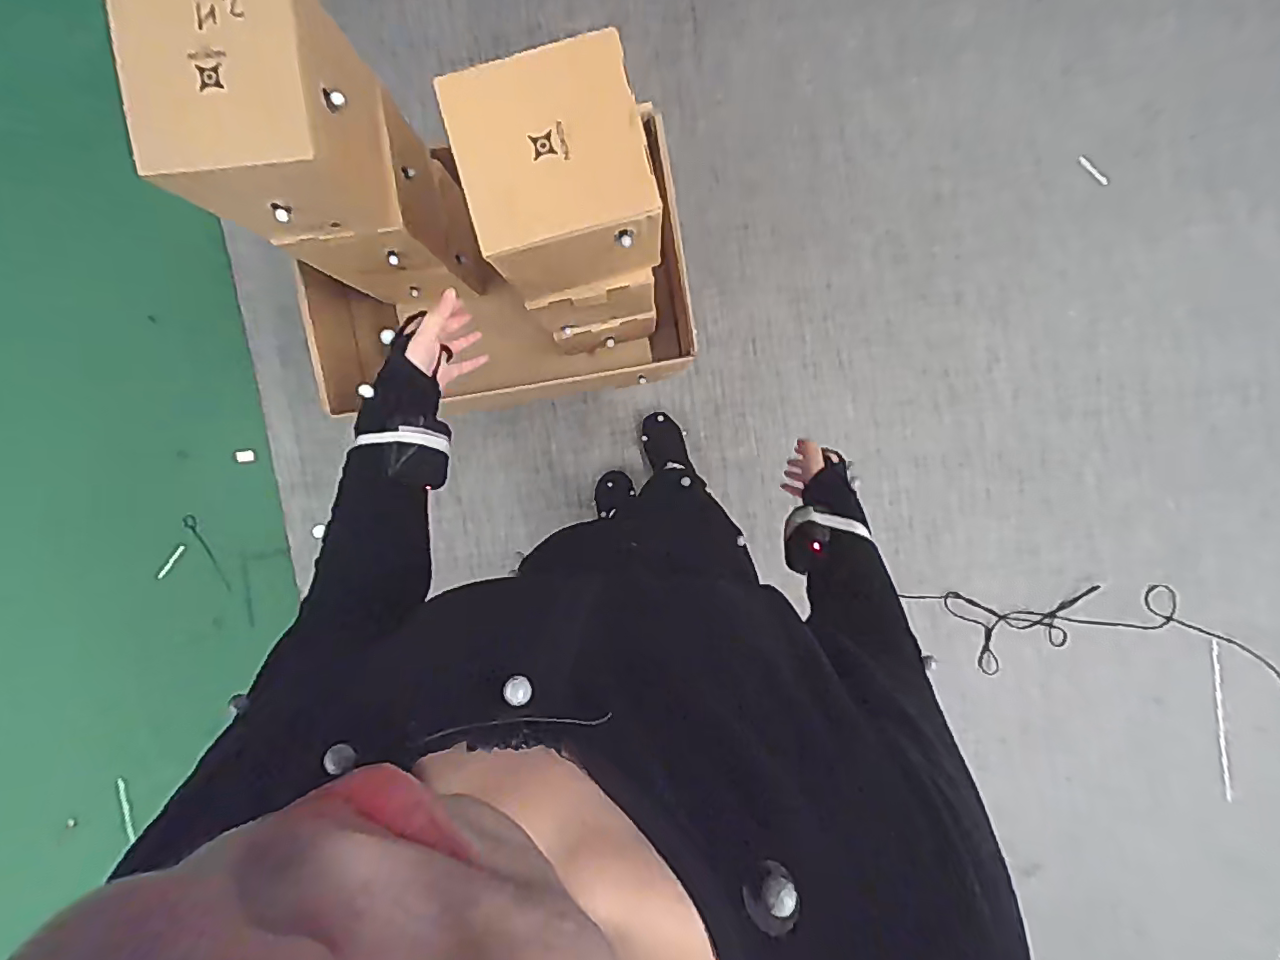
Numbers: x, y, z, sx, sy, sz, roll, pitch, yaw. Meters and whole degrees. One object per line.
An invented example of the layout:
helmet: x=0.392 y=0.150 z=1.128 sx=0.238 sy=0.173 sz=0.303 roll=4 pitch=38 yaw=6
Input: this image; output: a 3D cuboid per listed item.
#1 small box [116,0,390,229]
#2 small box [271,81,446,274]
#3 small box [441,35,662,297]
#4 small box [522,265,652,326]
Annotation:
small box: x=-0.385 y=-0.381 z=0.573 sx=0.168 sy=0.176 sz=0.179 roll=-5 pitch=95 yaw=-1
small box: x=-0.379 y=-0.393 z=0.736 sx=0.168 sy=0.176 sz=0.179 roll=-7 pitch=95 yaw=0
small box: x=-0.080 y=-0.312 z=0.578 sx=0.179 sy=0.176 sz=0.168 roll=-15 pitch=95 yaw=1
small box: x=-0.077 y=-0.318 z=0.740 sx=0.168 sy=0.176 sz=0.179 roll=-11 pitch=95 yaw=1
